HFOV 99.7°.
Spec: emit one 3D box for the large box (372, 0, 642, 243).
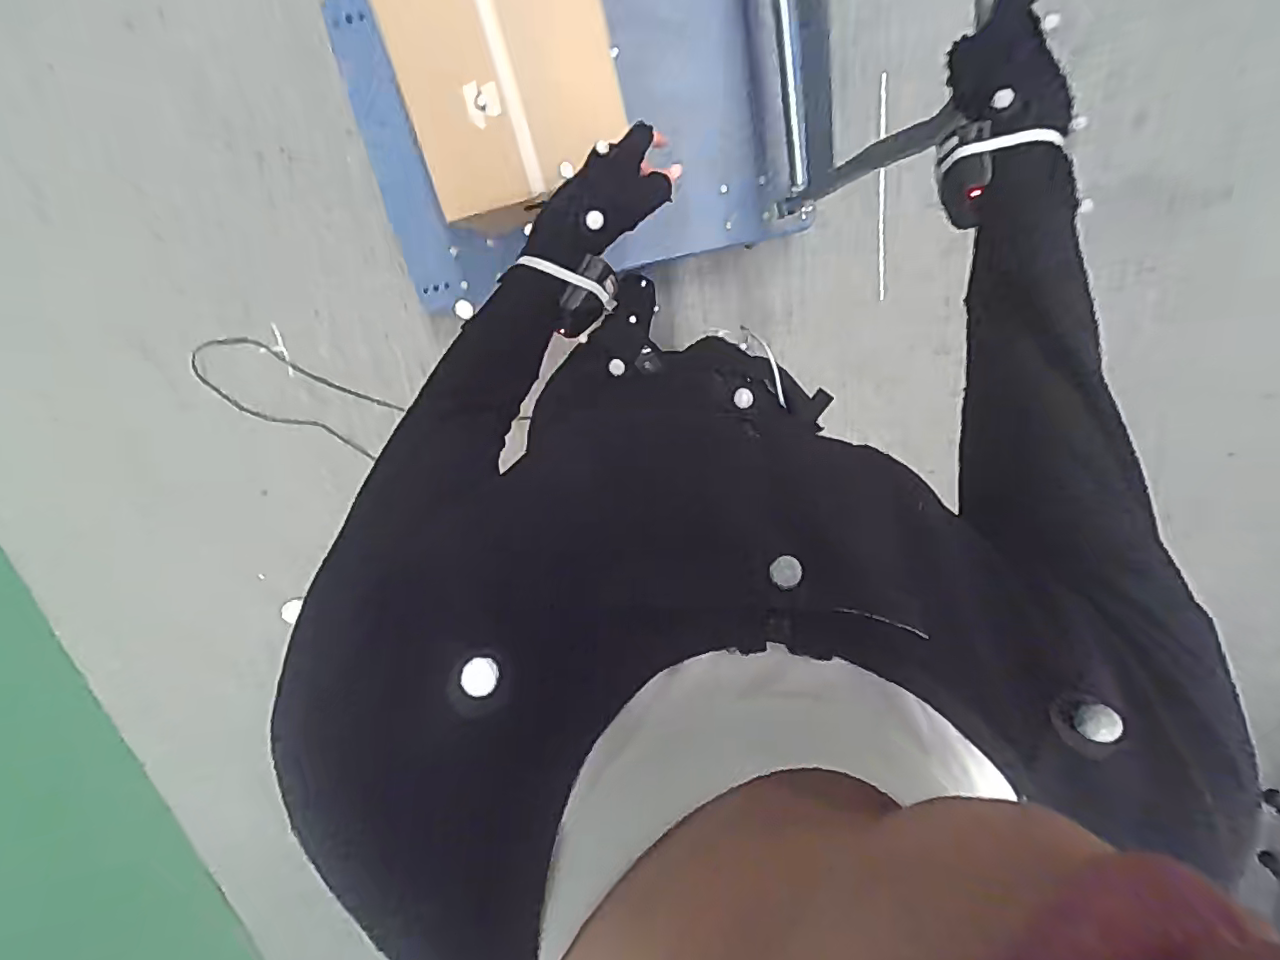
[{"bbox_3d":[-0.204,-0.666,0.927,0.320,0.320,0.408,-15,110,4],"label":"large box"}]
